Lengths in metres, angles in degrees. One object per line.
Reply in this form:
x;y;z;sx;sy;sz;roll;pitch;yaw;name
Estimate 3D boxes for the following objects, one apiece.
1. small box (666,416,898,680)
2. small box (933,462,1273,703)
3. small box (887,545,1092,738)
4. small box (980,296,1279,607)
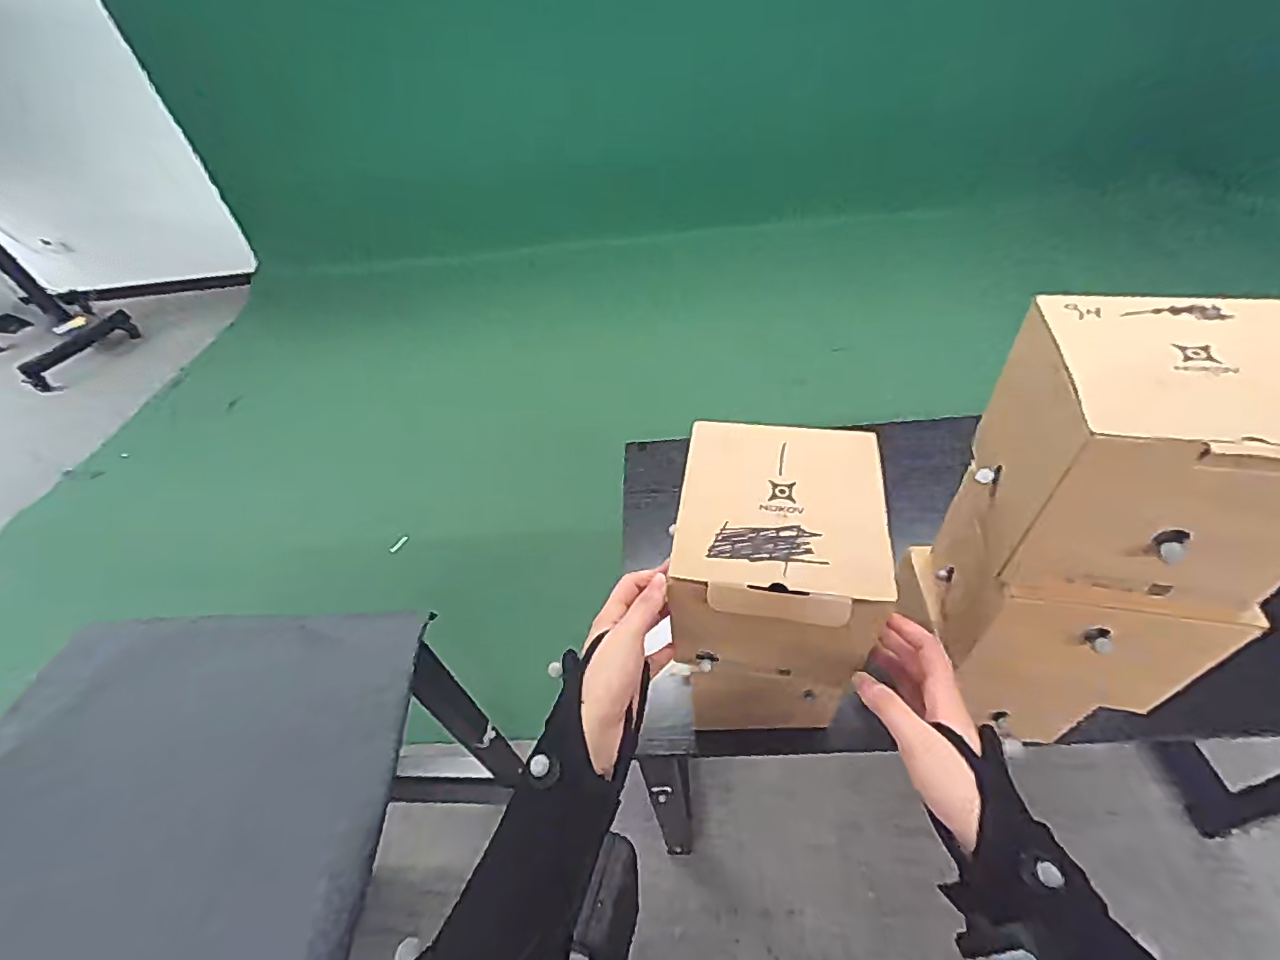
0.123;0.065;0.497;0.168;0.176;0.179;5;52;11;small box
0.413;0.099;0.528;0.179;0.176;0.168;5;48;13;small box
0.419;0.198;0.659;0.168;0.176;0.179;-1;46;7;small box
0.390;-0.024;0.422;0.168;0.176;0.179;7;49;16;small box
